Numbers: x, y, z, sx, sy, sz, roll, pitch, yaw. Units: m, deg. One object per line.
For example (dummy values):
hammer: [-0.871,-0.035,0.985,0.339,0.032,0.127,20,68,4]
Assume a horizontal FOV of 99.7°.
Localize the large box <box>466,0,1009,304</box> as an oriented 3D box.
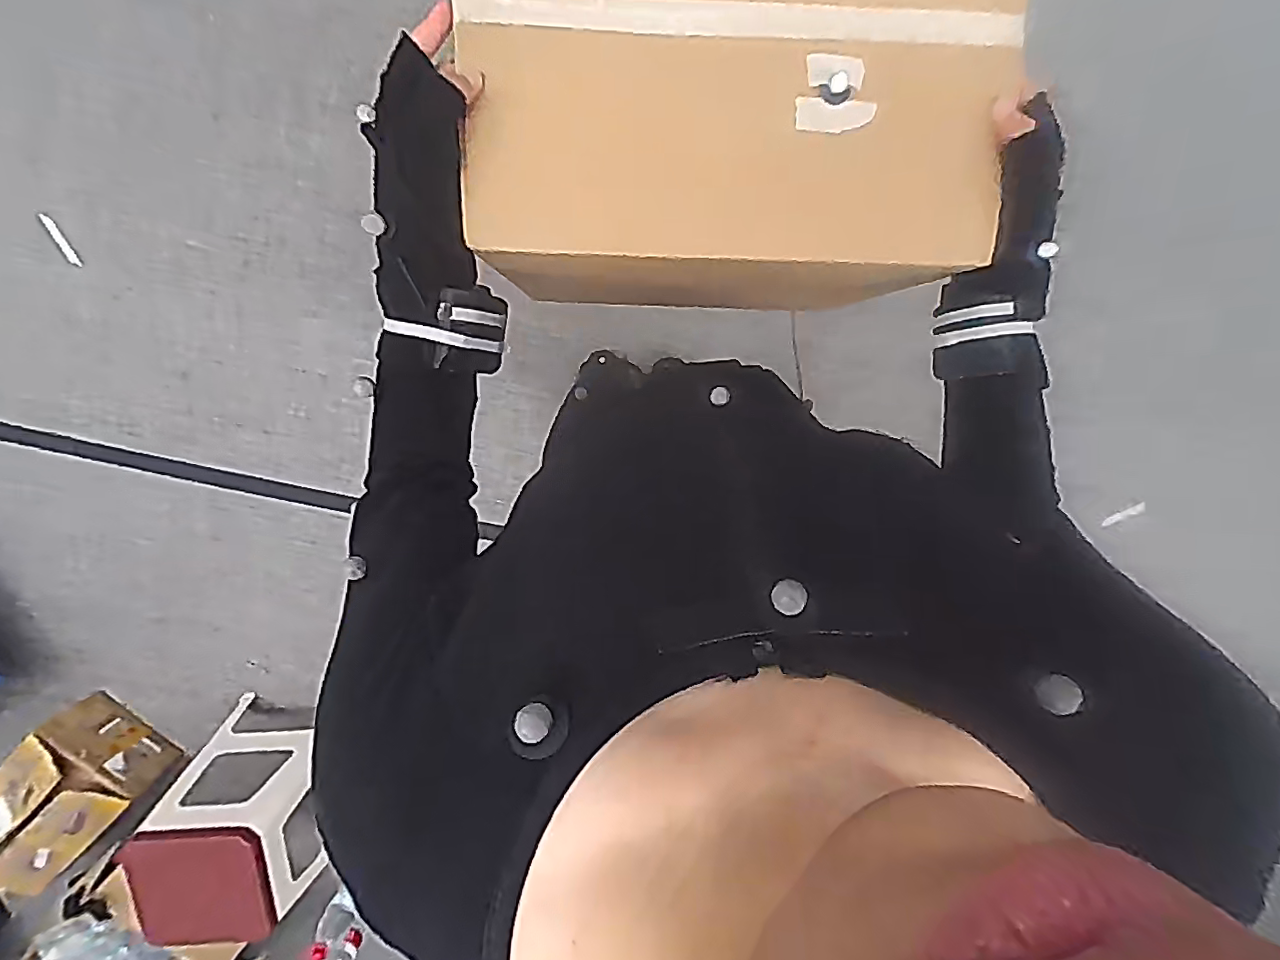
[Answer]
large box: [0.064,-0.358,0.540,0.408,0.320,0.320,1,101,-3]
